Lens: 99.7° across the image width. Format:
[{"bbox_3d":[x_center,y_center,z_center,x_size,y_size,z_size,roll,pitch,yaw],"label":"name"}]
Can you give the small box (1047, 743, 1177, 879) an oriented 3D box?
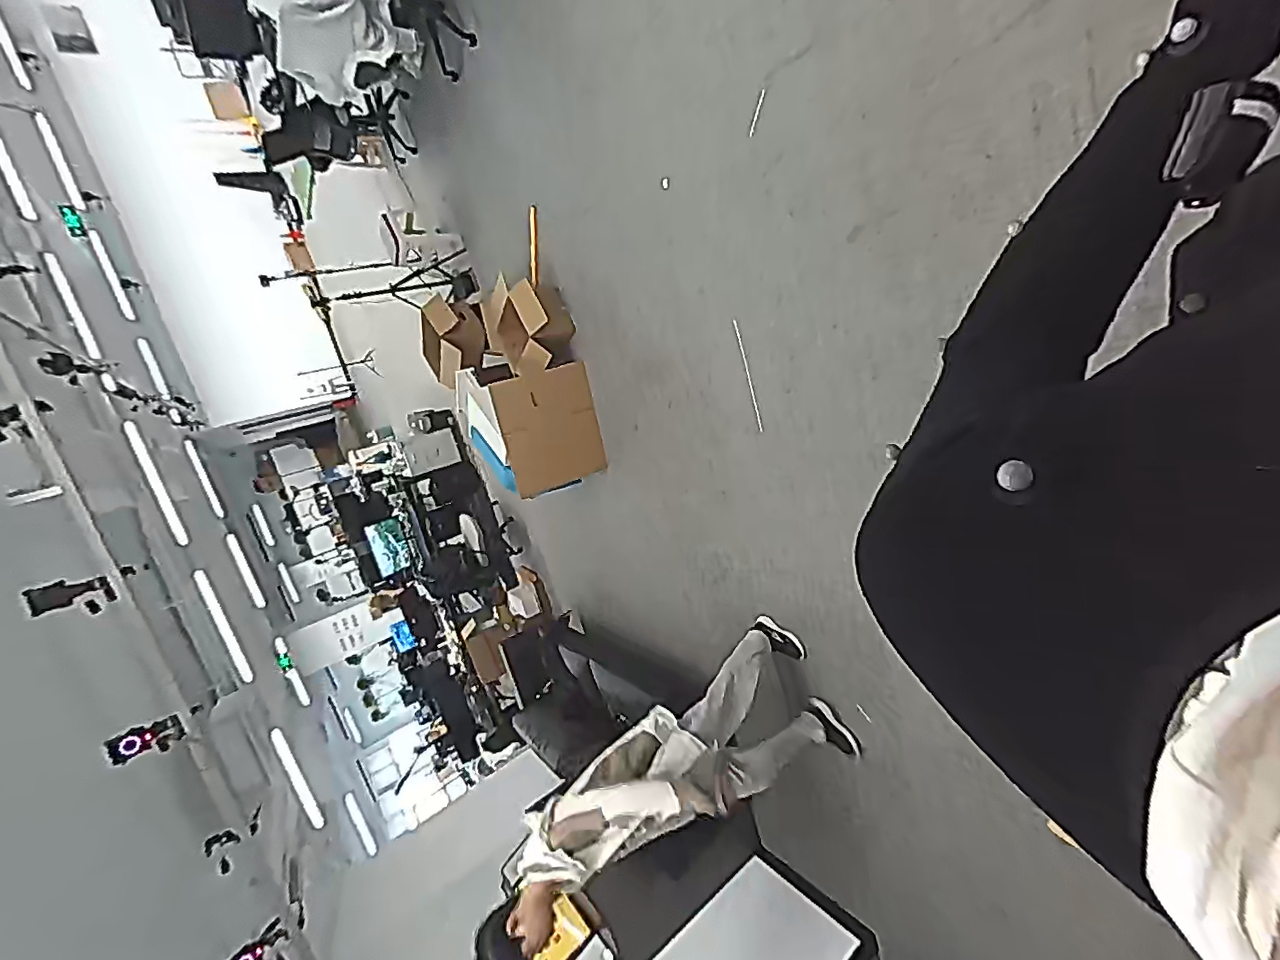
[{"bbox_3d":[1.105,0.768,1.267,0.168,0.176,0.179,30,131,46],"label":"small box"}]
